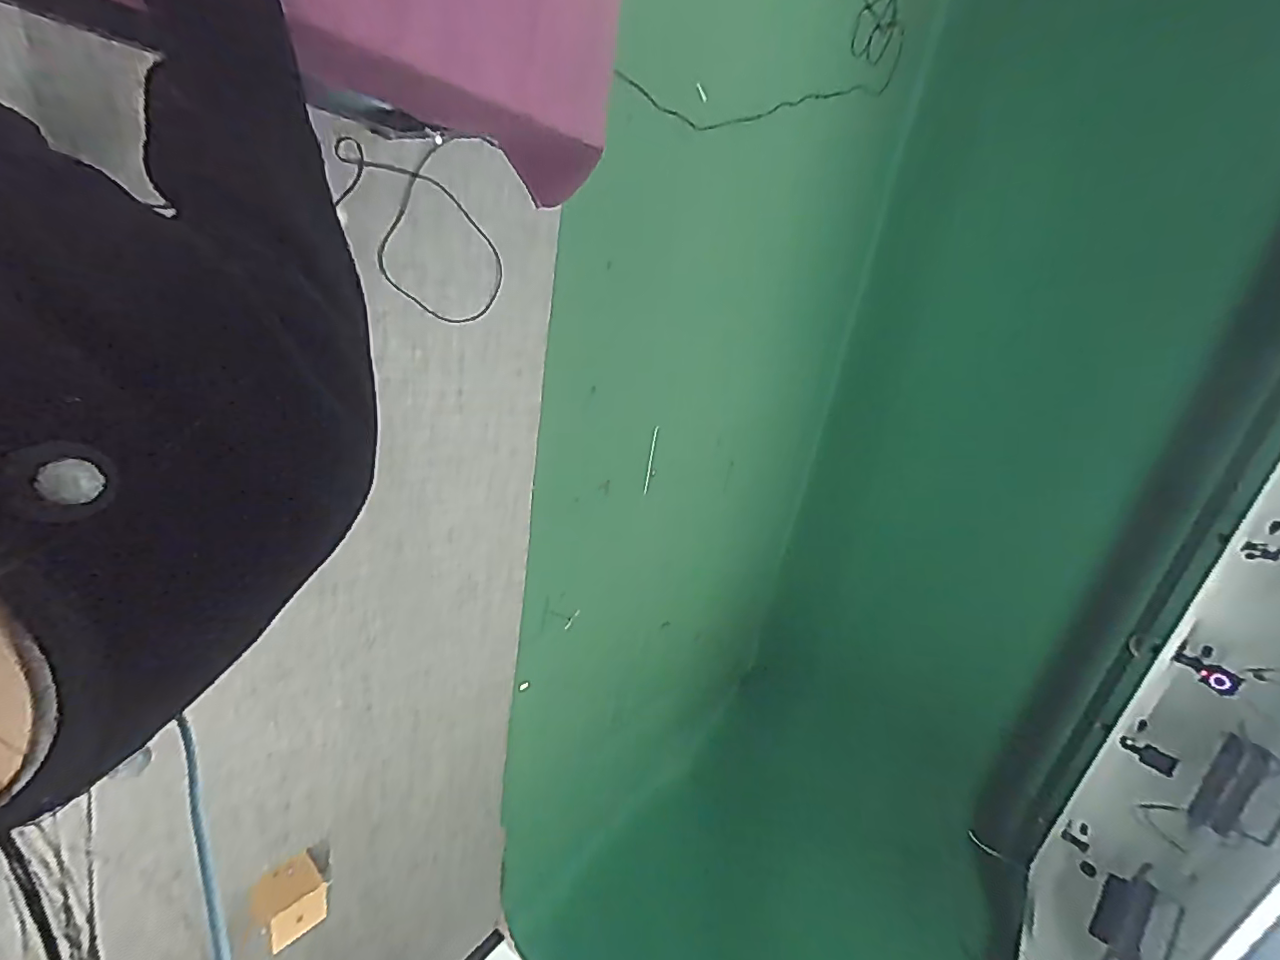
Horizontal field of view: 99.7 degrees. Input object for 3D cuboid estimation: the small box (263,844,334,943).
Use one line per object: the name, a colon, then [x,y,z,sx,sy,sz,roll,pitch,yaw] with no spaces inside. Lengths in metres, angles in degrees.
small box: [-1.183,1.423,1.873,0.168,0.176,0.179,-14,120,-50]
